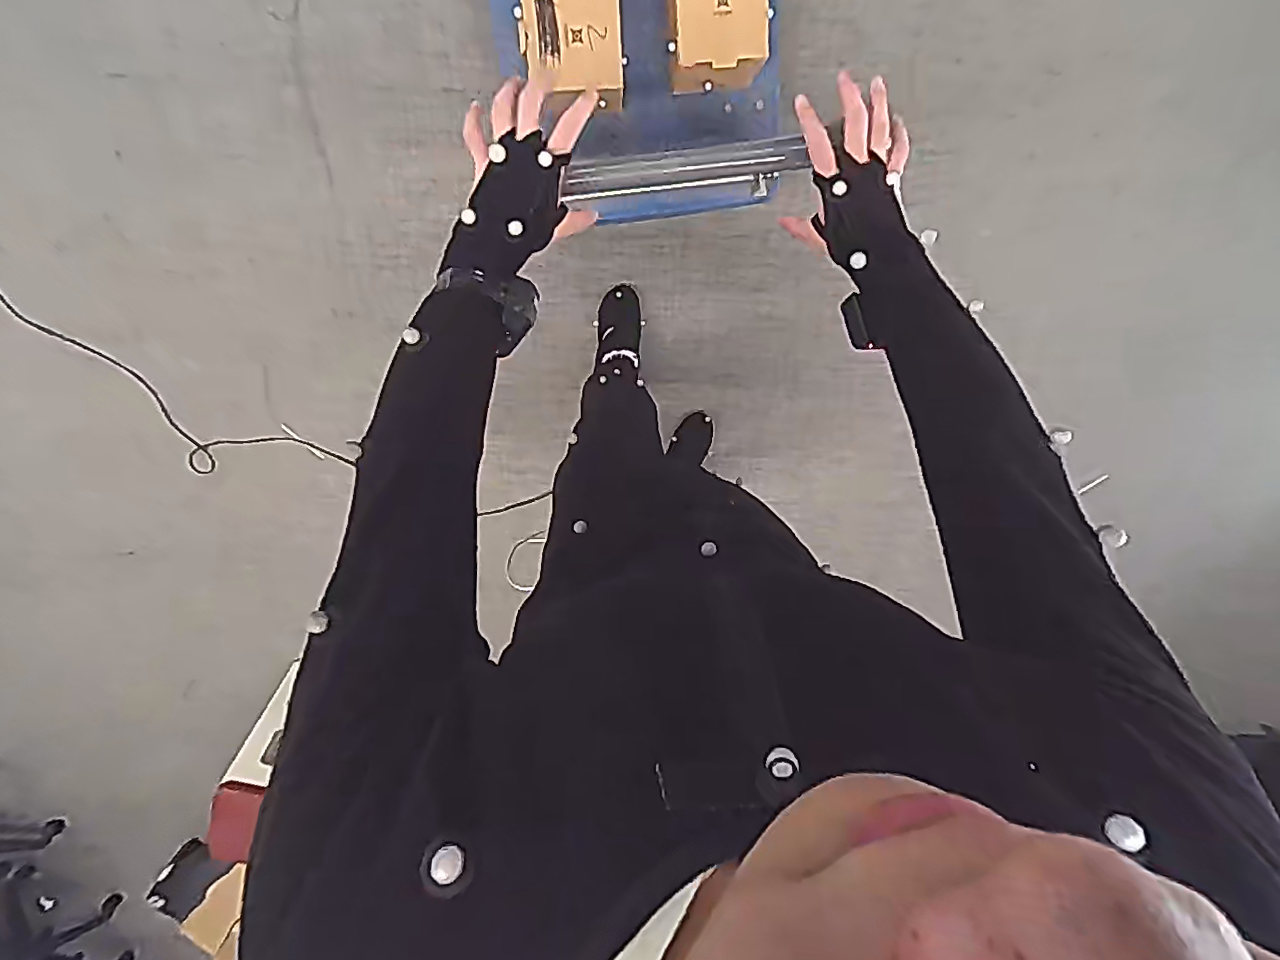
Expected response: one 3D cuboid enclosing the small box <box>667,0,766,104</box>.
[{"bbox_3d":[0.145,-0.869,1.057,0.168,0.176,0.179,-6,111,0],"label":"small box"}]
